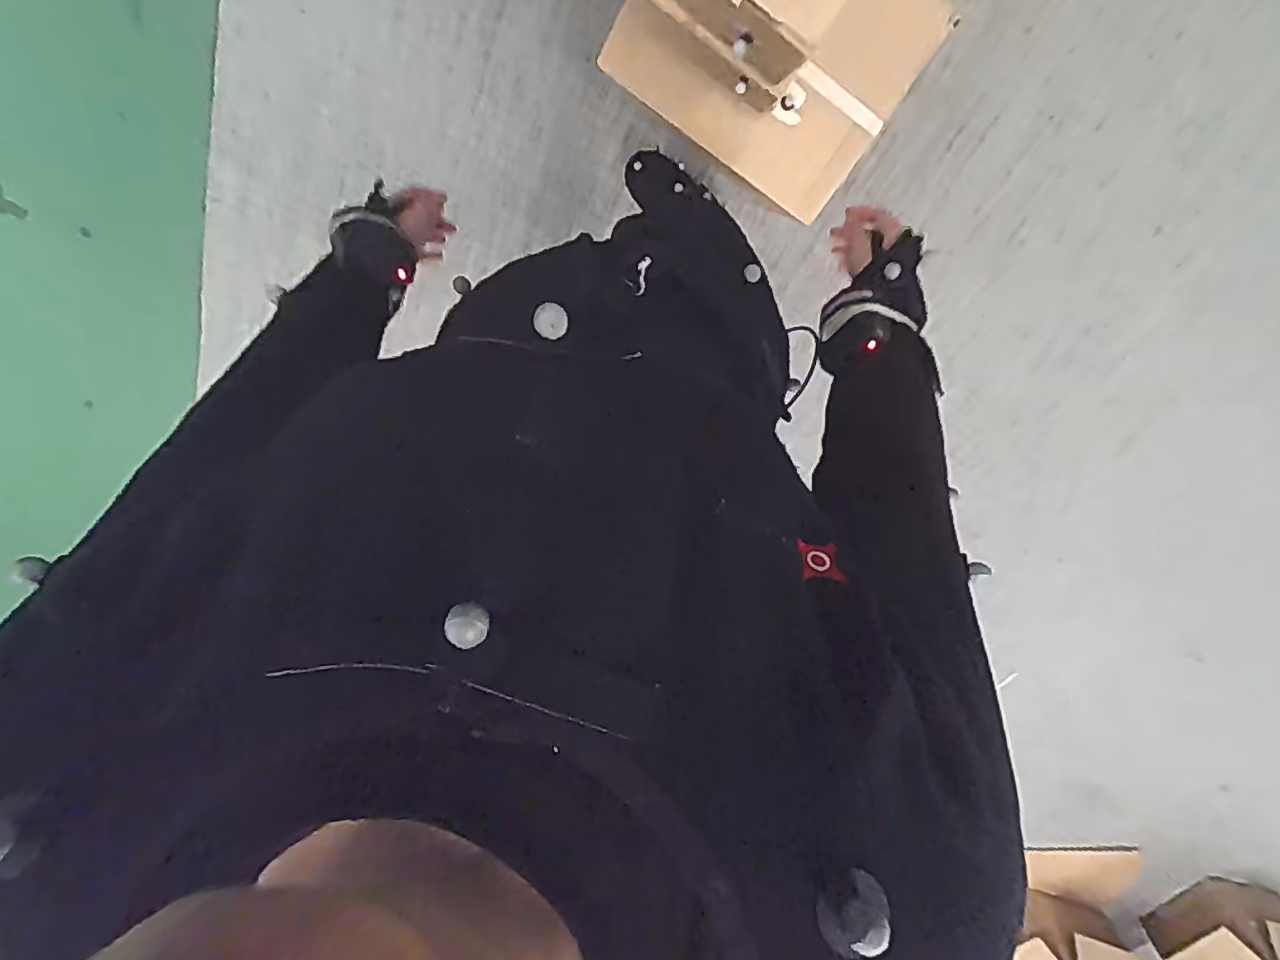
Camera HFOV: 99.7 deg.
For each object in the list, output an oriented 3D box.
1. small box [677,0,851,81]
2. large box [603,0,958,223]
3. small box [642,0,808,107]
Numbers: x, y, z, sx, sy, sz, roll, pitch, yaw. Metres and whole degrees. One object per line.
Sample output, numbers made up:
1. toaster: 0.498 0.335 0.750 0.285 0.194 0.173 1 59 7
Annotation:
1. small box: 0.104 -0.432 0.390 0.168 0.176 0.179 30 116 -14
2. large box: 0.197 -0.689 0.893 0.408 0.320 0.320 30 118 -13
3. small box: 0.110 -0.504 0.536 0.179 0.176 0.168 28 118 -11
